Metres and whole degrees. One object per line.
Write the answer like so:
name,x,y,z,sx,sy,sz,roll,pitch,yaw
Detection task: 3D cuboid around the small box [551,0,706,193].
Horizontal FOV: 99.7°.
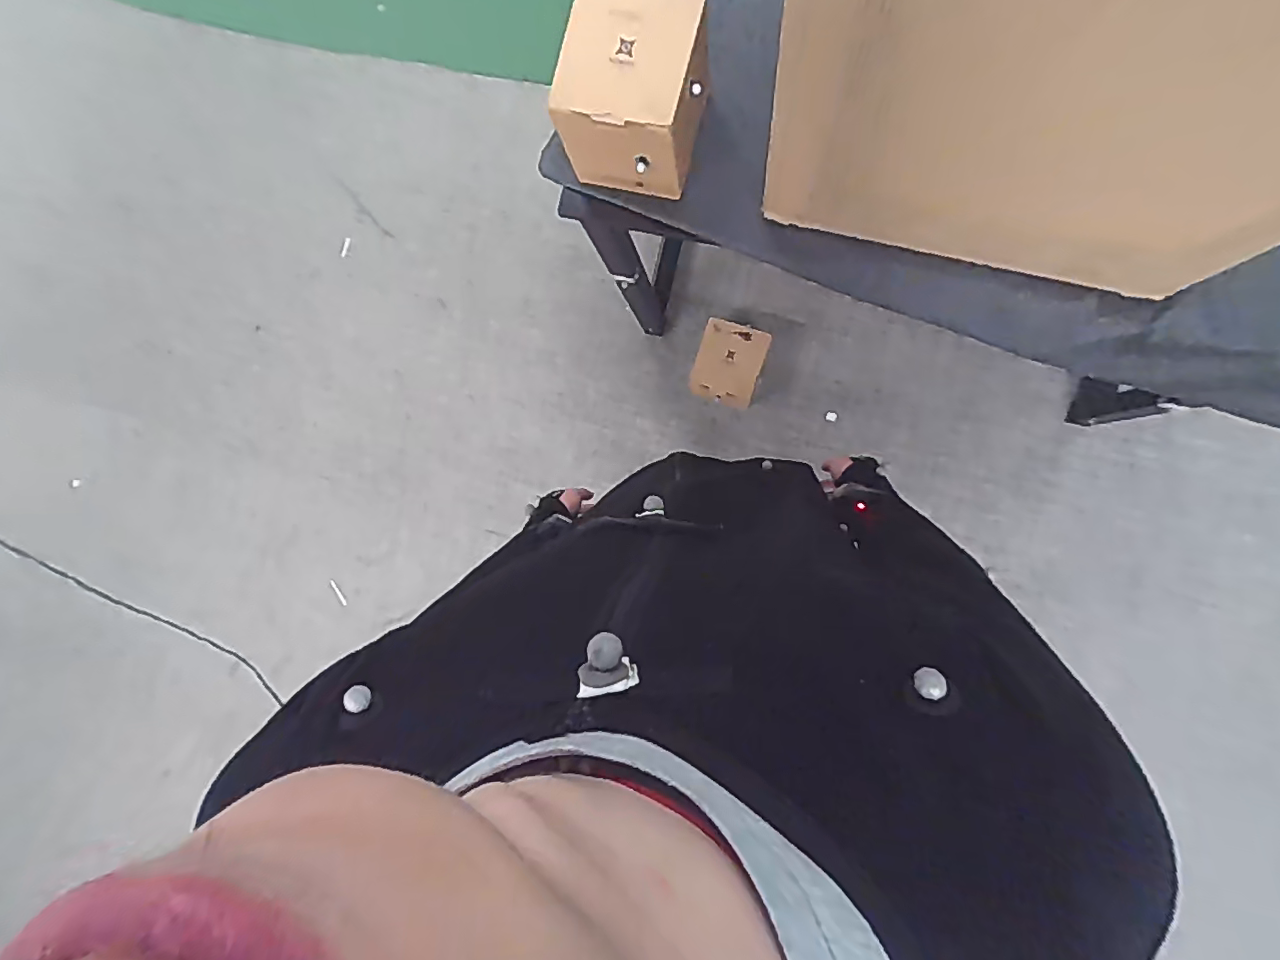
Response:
small box,-0.006,-0.536,0.755,0.168,0.176,0.179,14,89,7
